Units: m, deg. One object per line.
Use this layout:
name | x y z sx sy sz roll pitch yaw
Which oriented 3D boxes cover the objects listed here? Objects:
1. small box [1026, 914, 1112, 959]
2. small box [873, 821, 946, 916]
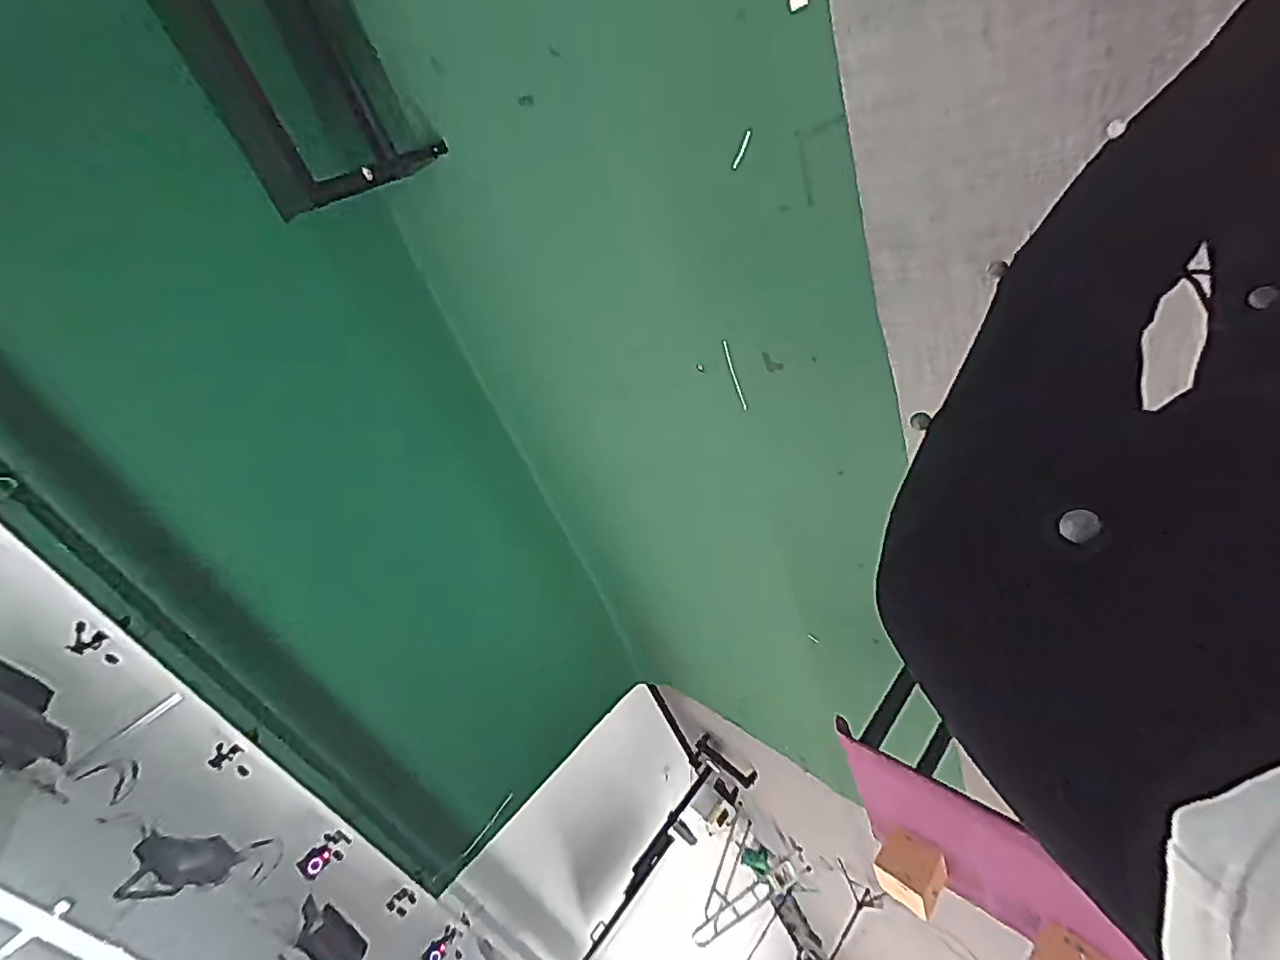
small box | 1.217 1.403 1.538 0.168 0.176 0.179 14 135 47
small box | 0.931 1.332 1.860 0.168 0.176 0.179 12 134 48
